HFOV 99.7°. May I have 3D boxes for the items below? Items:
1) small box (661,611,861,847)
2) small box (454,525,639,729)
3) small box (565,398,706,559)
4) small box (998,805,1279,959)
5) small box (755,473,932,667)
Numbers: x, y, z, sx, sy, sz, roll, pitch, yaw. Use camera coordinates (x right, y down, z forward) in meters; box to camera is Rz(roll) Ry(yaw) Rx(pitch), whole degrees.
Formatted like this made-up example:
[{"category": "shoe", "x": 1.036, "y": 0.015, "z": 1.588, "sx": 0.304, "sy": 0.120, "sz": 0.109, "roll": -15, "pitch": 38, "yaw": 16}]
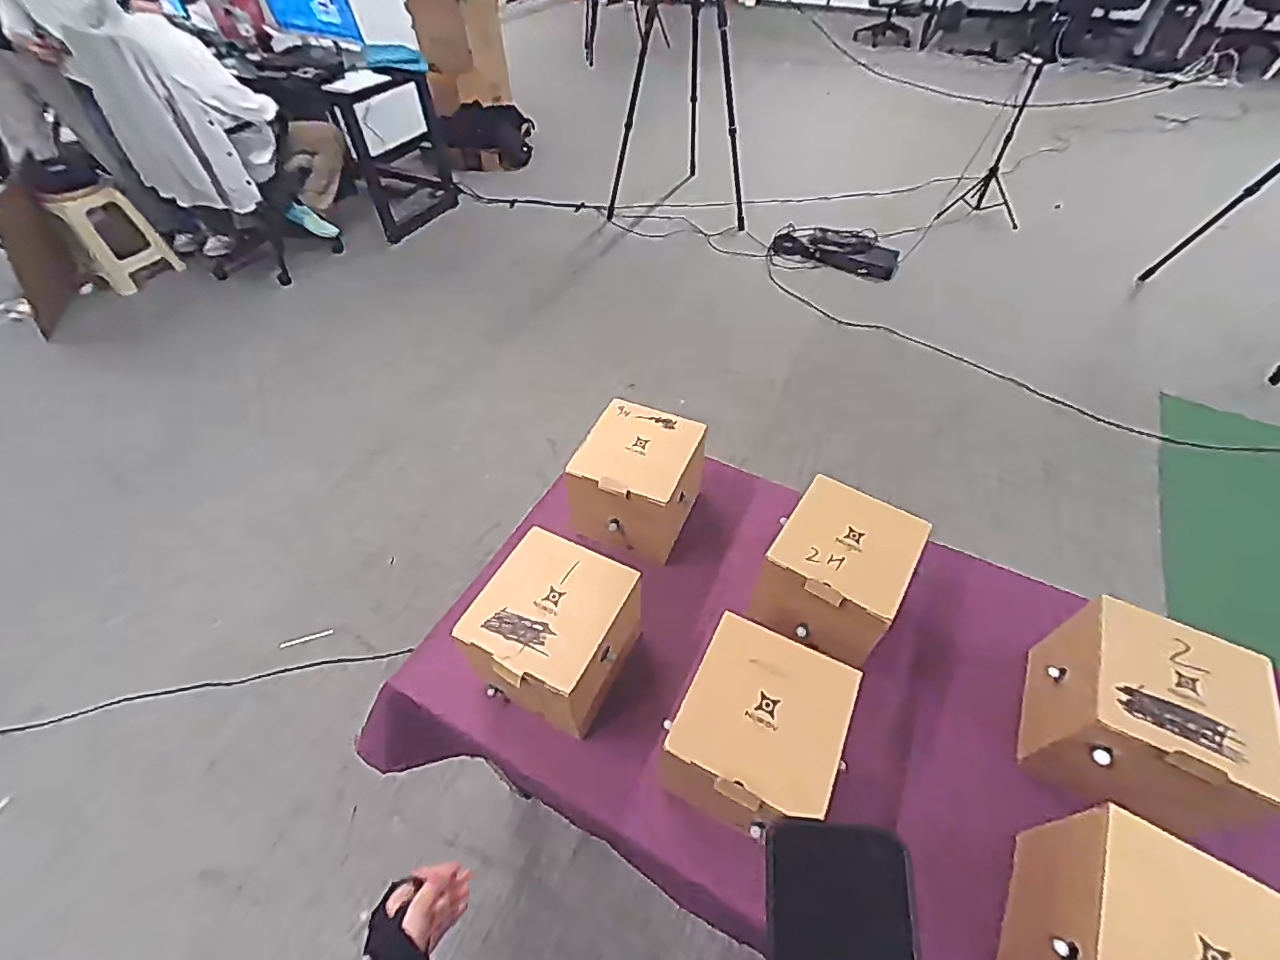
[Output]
[{"category": "small box", "x": 0.135, "y": 0.294, "z": 0.636, "sx": 0.168, "sy": 0.176, "sz": 0.179, "roll": 23, "pitch": 53, "yaw": 18}, {"category": "small box", "x": -0.109, "y": 0.198, "z": 0.719, "sx": 0.168, "sy": 0.176, "sz": 0.179, "roll": 21, "pitch": 52, "yaw": 17}, {"category": "small box", "x": 0.000, "y": 0.000, "z": 0.883, "sx": 0.168, "sy": 0.176, "sz": 0.179, "roll": 19, "pitch": 54, "yaw": 16}, {"category": "small box", "x": 0.466, "y": 0.446, "z": 0.500, "sx": 0.168, "sy": 0.176, "sz": 0.179, "roll": 26, "pitch": 56, "yaw": 22}, {"category": "small box", "x": 0.278, "y": 0.129, "z": 0.770, "sx": 0.168, "sy": 0.176, "sz": 0.179, "roll": 28, "pitch": 56, "yaw": 23}]
